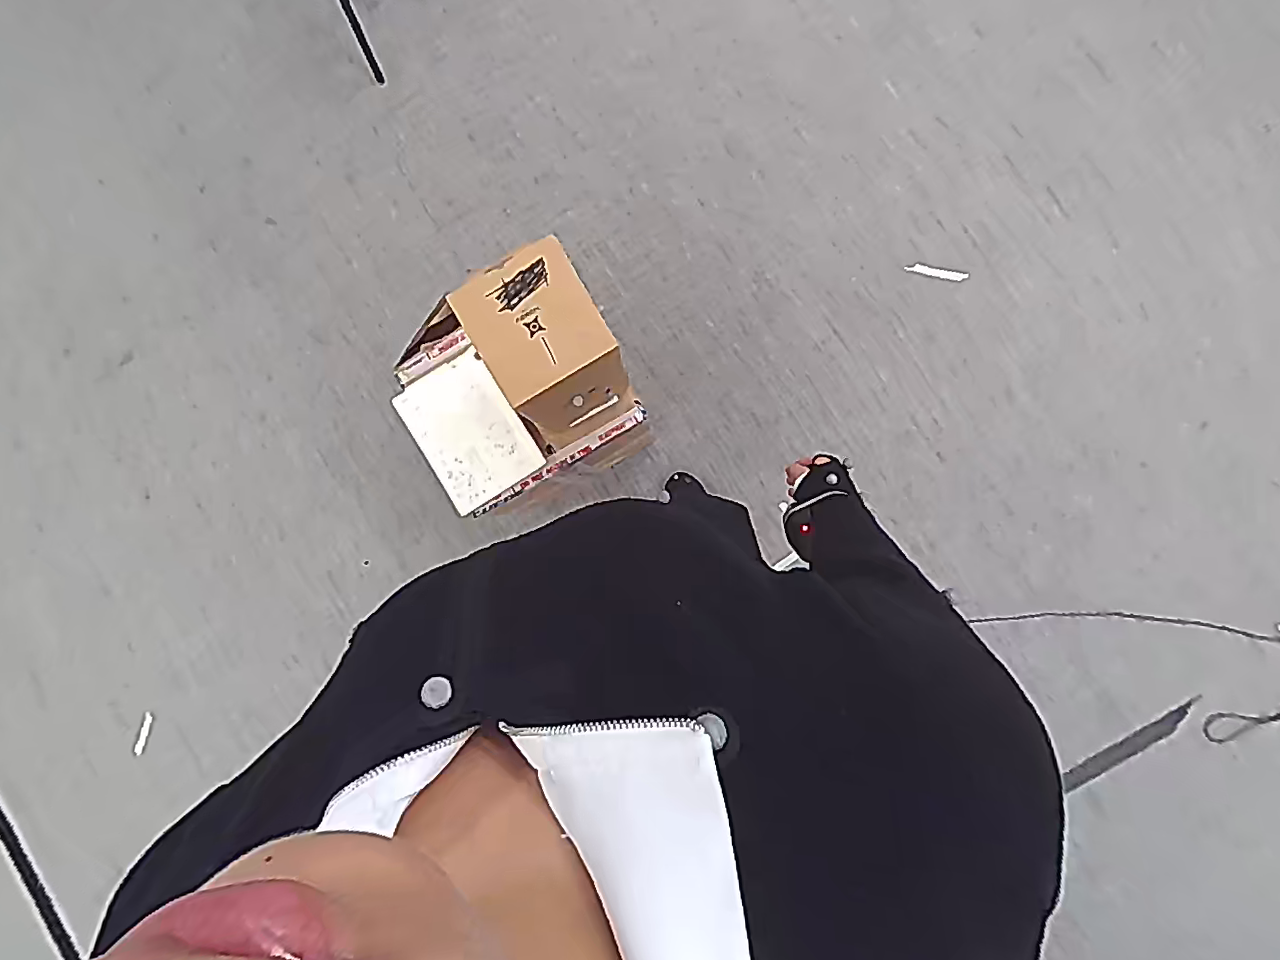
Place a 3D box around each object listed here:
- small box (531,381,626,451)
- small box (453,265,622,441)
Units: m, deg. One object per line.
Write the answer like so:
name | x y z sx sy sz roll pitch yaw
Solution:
small box | -0.138 -0.168 0.963 0.179 0.176 0.168 -34 88 1
small box | -0.139 -0.173 0.798 0.168 0.176 0.179 -31 89 0
